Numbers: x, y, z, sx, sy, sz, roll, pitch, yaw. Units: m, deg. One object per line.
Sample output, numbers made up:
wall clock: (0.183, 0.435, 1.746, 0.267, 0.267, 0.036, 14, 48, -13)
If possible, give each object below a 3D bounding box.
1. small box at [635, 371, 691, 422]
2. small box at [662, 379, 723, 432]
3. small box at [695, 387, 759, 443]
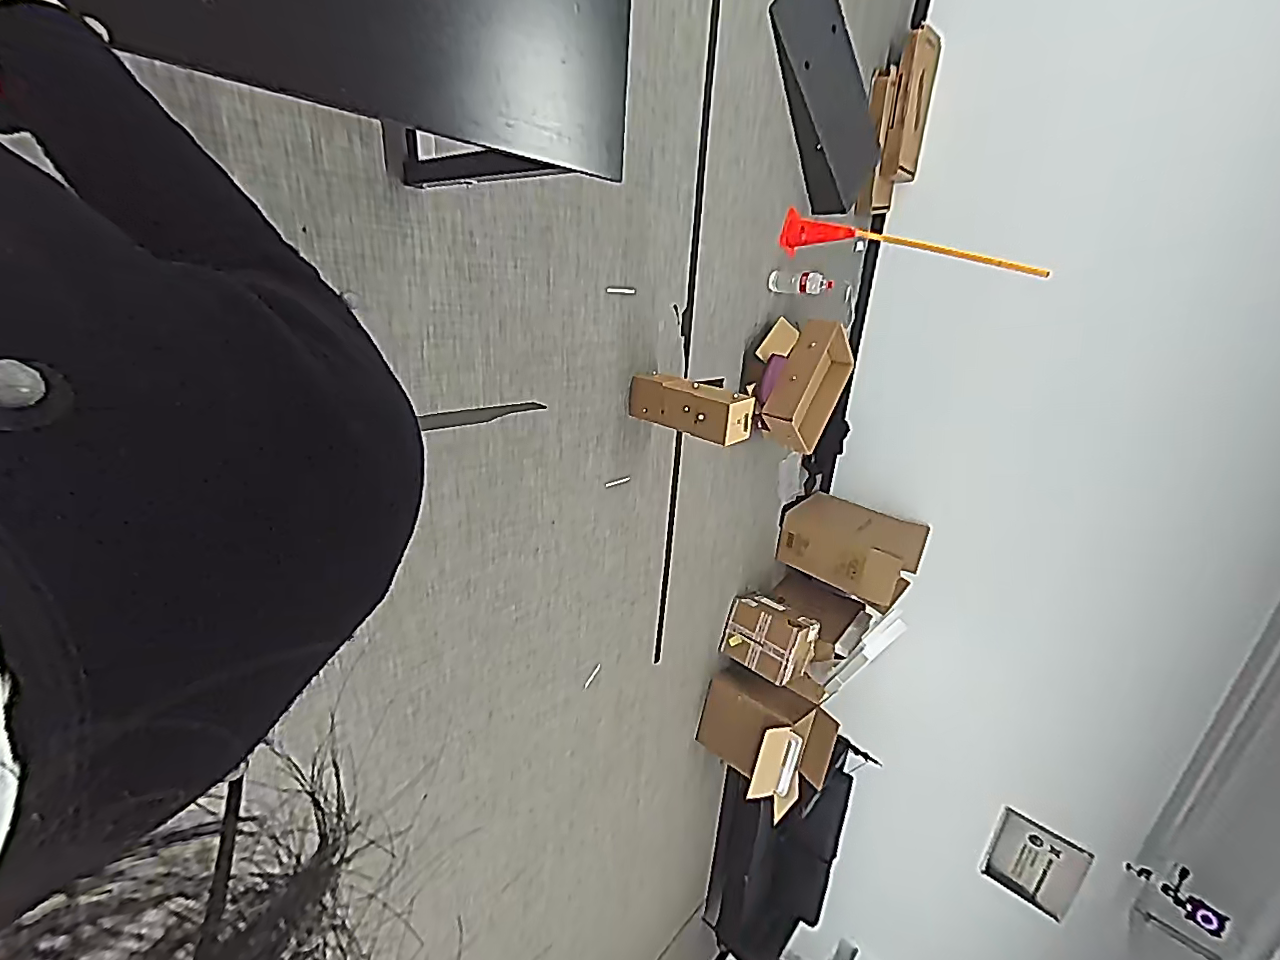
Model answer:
small box: (0.093, -0.355, 2.282, 0.168, 0.176, 0.179, -19, 120, -45)
small box: (0.212, -0.307, 2.181, 0.179, 0.176, 0.168, -21, 122, -45)
small box: (0.334, -0.254, 2.083, 0.179, 0.176, 0.168, -20, 122, -44)
